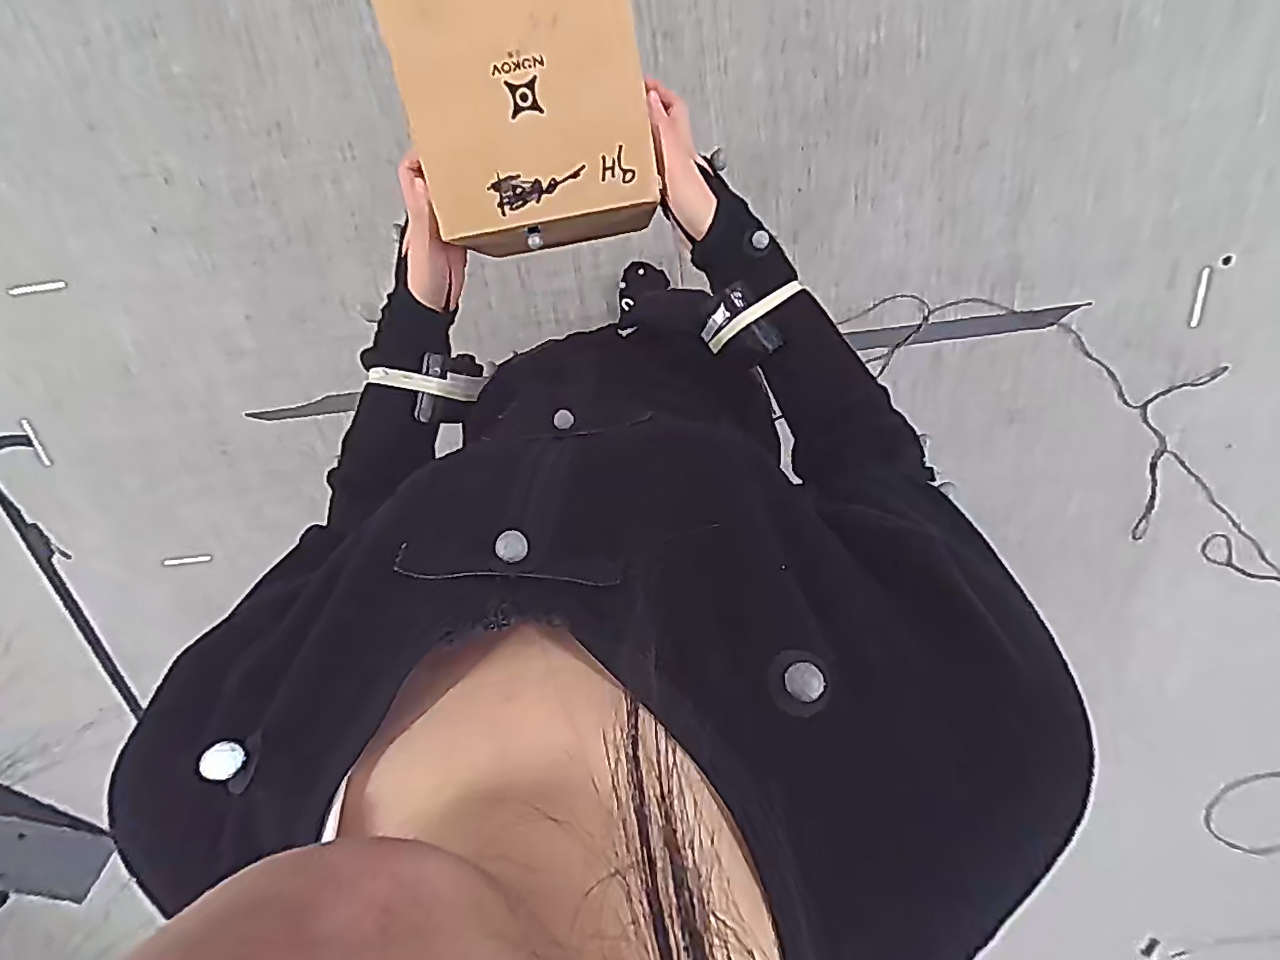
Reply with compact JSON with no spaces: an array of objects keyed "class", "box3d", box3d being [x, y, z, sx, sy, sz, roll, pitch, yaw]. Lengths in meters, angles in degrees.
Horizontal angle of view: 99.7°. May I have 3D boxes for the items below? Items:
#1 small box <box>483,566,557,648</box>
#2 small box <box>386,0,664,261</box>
[{"class":"small box","box3d":[-0.352,0.370,1.599,0.179,0.176,0.168,9,110,-4]},{"class":"small box","box3d":[-0.080,-0.293,0.445,0.168,0.176,0.179,-11,108,0]}]
